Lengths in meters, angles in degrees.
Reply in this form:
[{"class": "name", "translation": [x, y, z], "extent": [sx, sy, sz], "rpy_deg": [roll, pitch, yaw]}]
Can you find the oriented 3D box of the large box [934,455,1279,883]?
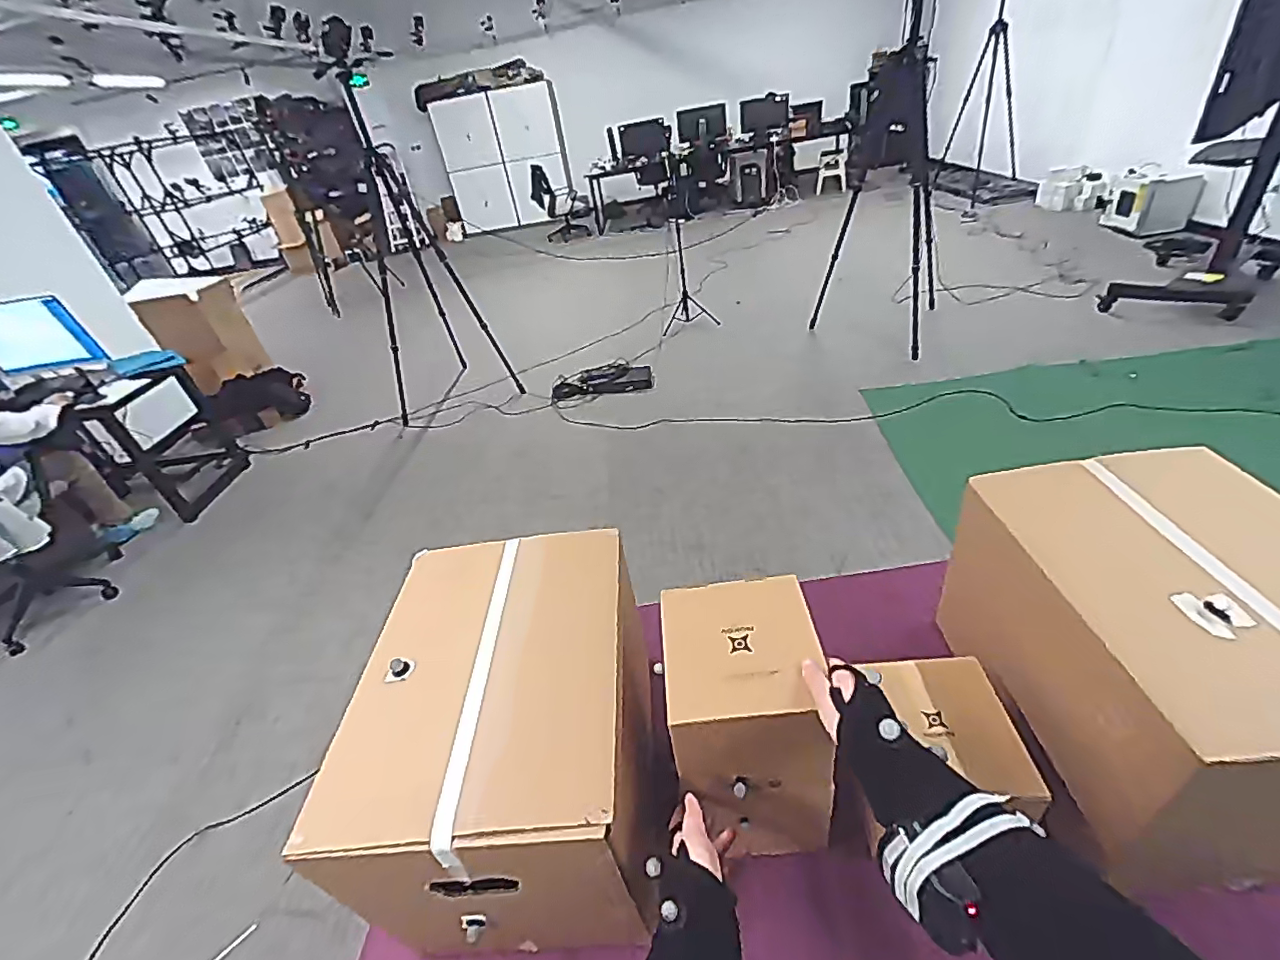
[{"class": "large box", "translation": [0.639, 0.217, 0.686], "extent": [0.320, 0.320, 0.408], "rpy_deg": [-7, 36, 5]}]
